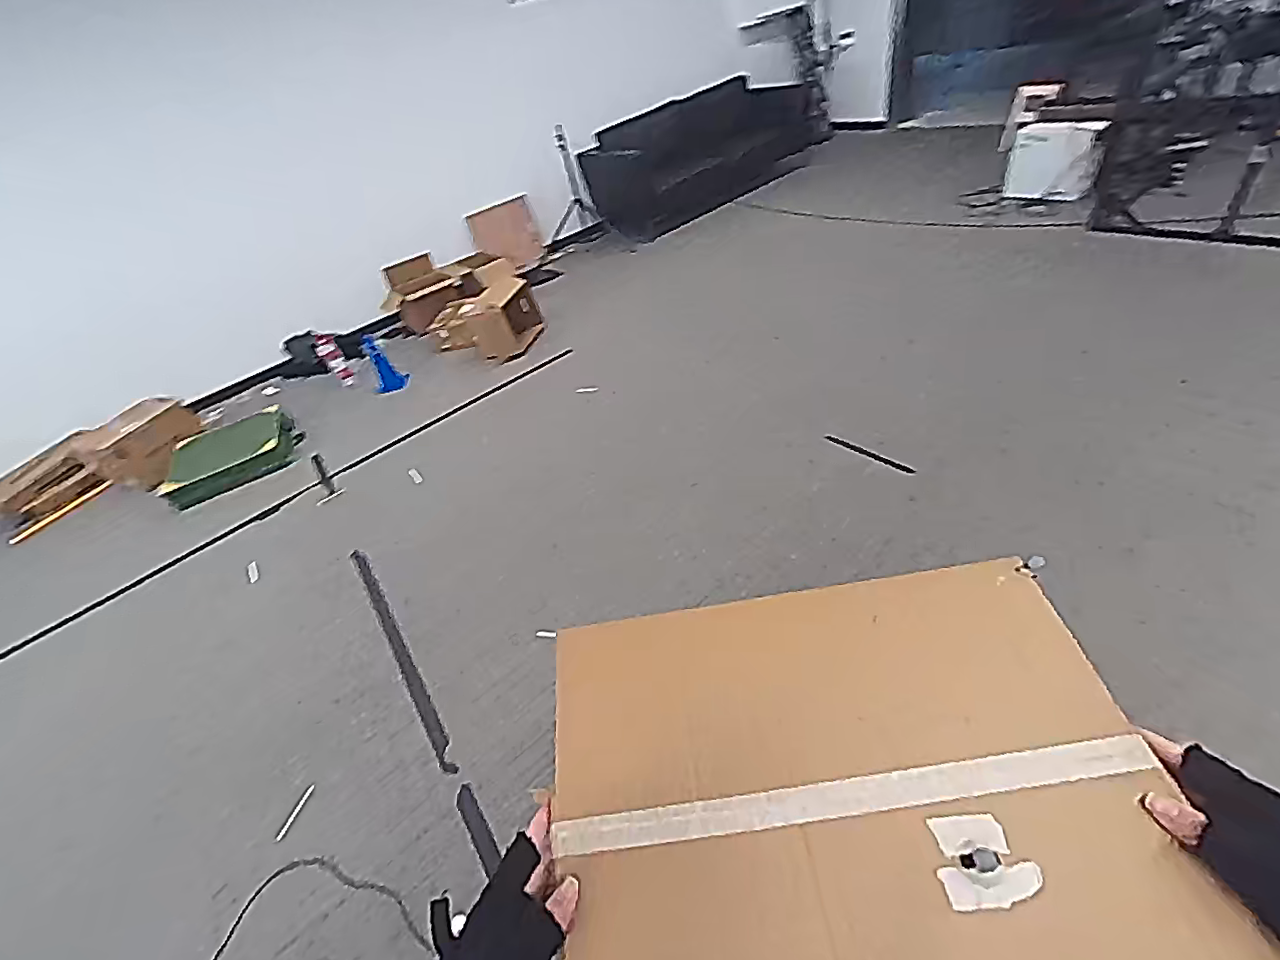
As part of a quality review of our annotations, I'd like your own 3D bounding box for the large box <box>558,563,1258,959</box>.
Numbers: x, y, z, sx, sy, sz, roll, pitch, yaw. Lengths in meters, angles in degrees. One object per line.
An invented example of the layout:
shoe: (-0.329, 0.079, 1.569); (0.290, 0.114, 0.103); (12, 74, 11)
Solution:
large box: (0.158, 0.319, 0.496); (0.408, 0.320, 0.320); (-10, 49, 1)
